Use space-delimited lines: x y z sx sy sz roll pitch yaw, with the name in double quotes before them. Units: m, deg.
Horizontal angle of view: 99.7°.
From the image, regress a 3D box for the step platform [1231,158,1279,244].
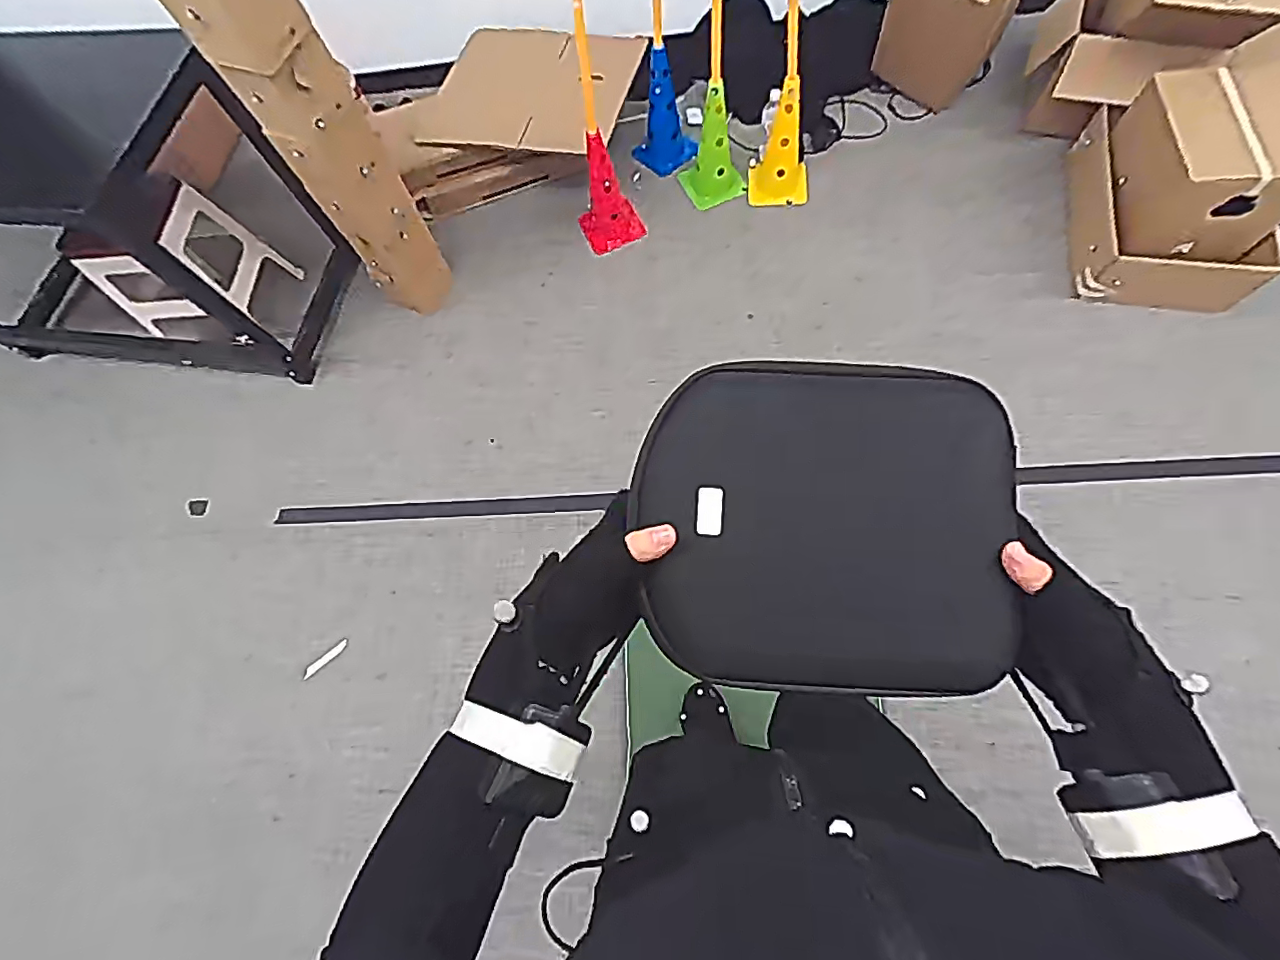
"step platform" 2.189 -0.955 1.601 0.684 0.204 0.286 -30 69 -5
